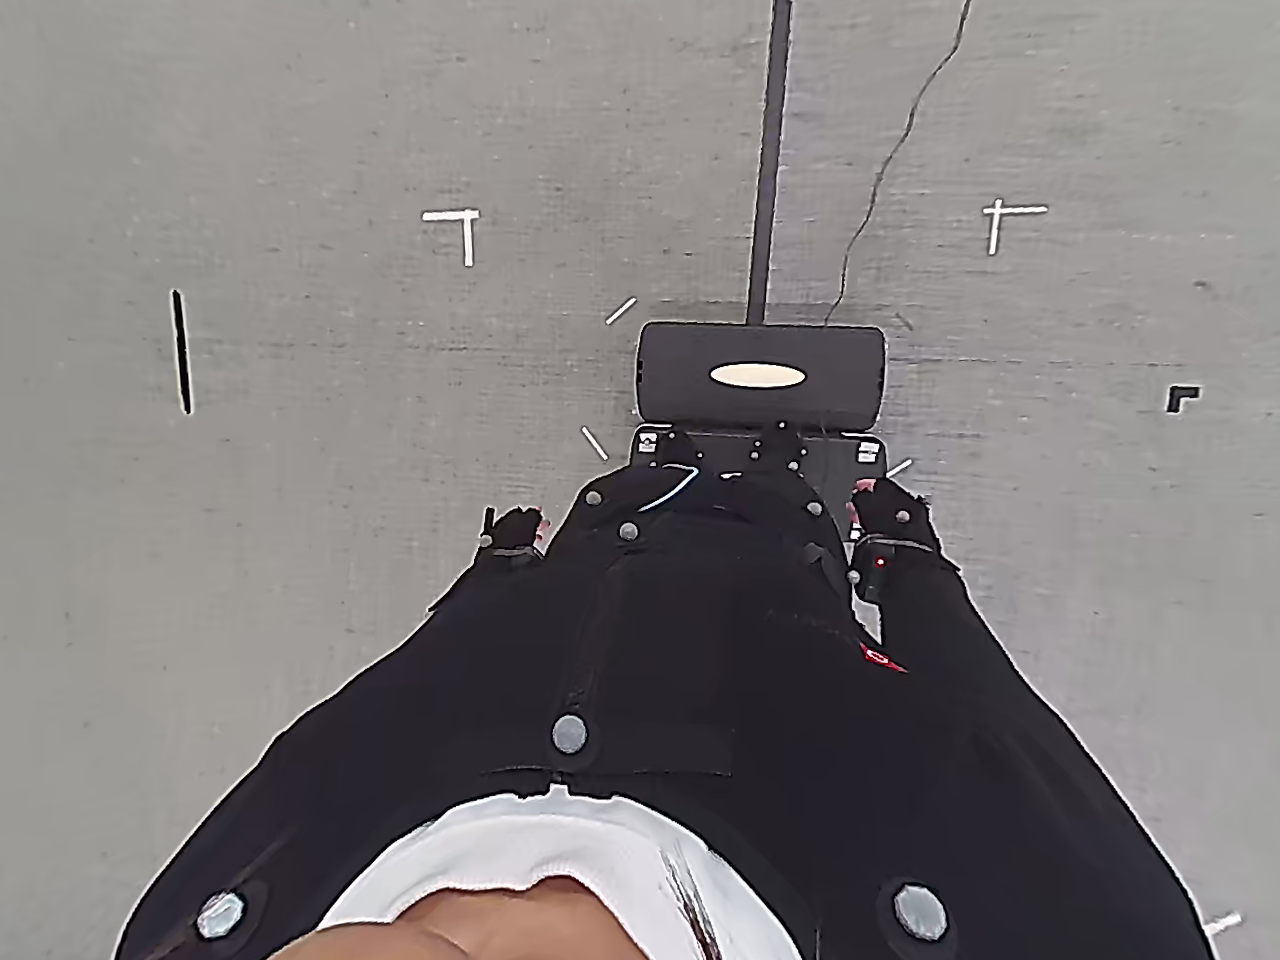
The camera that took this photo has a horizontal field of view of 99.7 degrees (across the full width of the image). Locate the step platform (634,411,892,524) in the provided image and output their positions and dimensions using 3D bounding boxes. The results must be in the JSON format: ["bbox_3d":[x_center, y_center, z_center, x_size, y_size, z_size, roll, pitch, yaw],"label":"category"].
[{"bbox_3d":[0.323,-0.041,1.499,0.684,0.204,0.286,3,98,8],"label":"step platform"}]
